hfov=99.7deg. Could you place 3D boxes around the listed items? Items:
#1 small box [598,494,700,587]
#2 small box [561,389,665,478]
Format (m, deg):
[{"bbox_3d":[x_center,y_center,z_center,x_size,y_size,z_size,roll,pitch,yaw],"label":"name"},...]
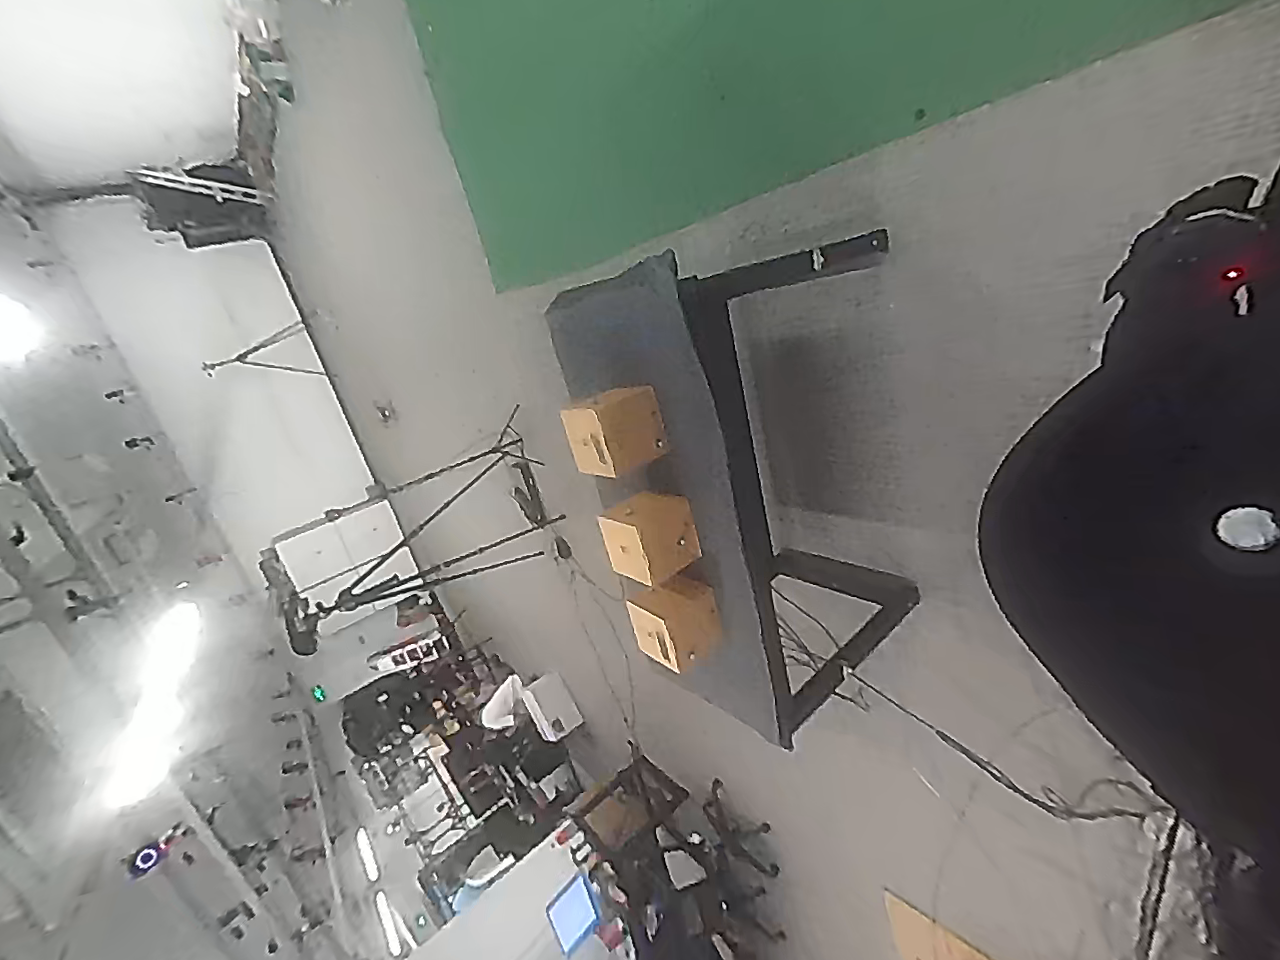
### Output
[{"bbox_3d":[0.025,0.144,1.375,0.179,0.176,0.168,8,119,53],"label":"small box"},{"bbox_3d":[-0.057,-0.116,1.302,0.179,0.176,0.168,9,120,54],"label":"small box"}]
